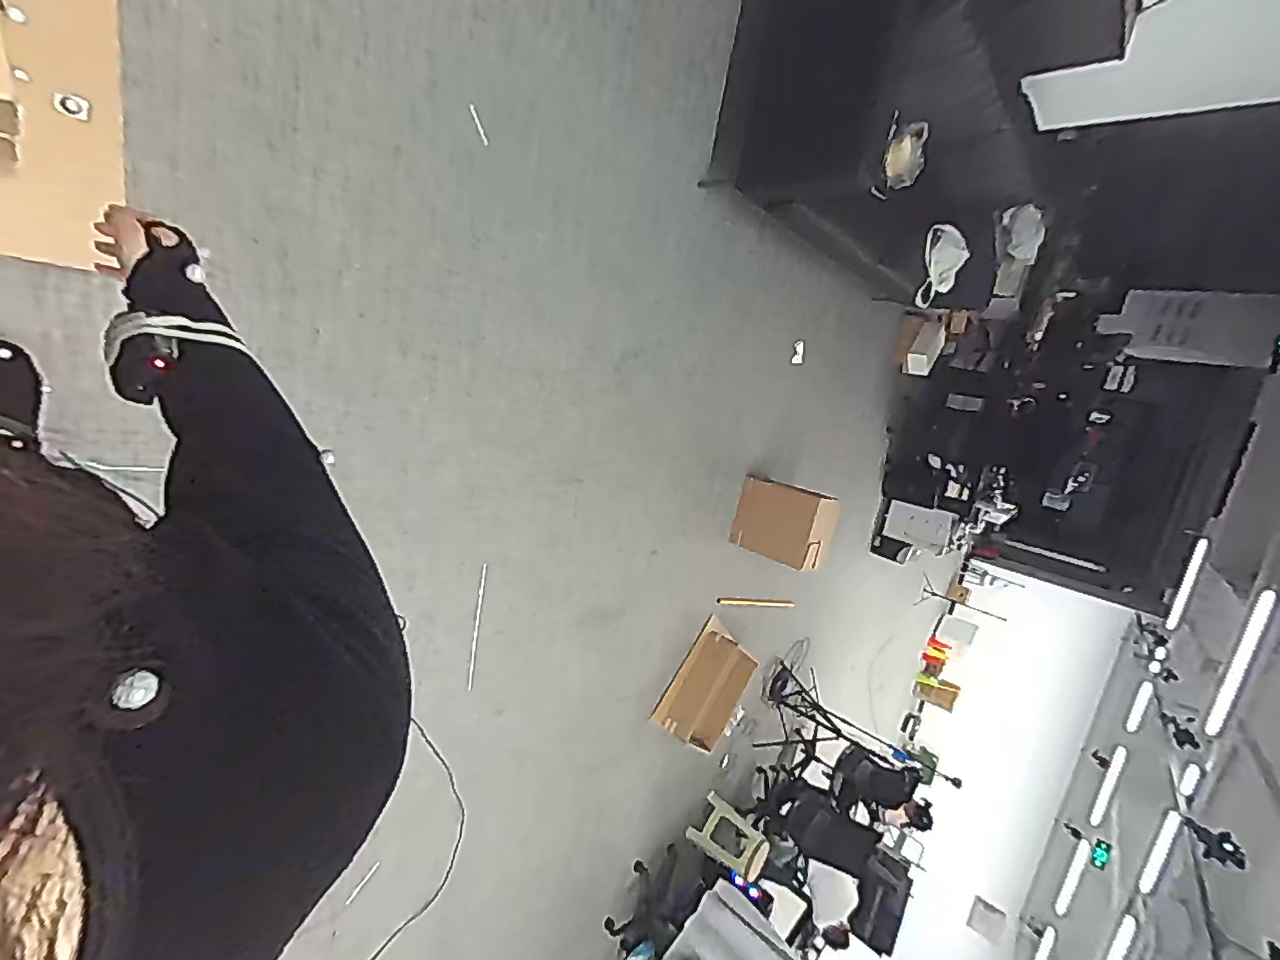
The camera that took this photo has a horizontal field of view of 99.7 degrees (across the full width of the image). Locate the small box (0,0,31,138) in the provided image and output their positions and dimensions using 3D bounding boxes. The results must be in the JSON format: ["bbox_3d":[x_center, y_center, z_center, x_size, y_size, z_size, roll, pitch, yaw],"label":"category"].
[{"bbox_3d":[-0.581,-0.377,0.390,0.168,0.176,0.179,-12,114,-45],"label":"small box"}]

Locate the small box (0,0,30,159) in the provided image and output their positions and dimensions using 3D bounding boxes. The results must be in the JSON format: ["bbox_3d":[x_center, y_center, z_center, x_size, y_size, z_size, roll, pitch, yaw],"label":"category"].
[{"bbox_3d":[-0.702,-0.414,0.495,0.179,0.176,0.168,-8,110,-46],"label":"small box"}]
